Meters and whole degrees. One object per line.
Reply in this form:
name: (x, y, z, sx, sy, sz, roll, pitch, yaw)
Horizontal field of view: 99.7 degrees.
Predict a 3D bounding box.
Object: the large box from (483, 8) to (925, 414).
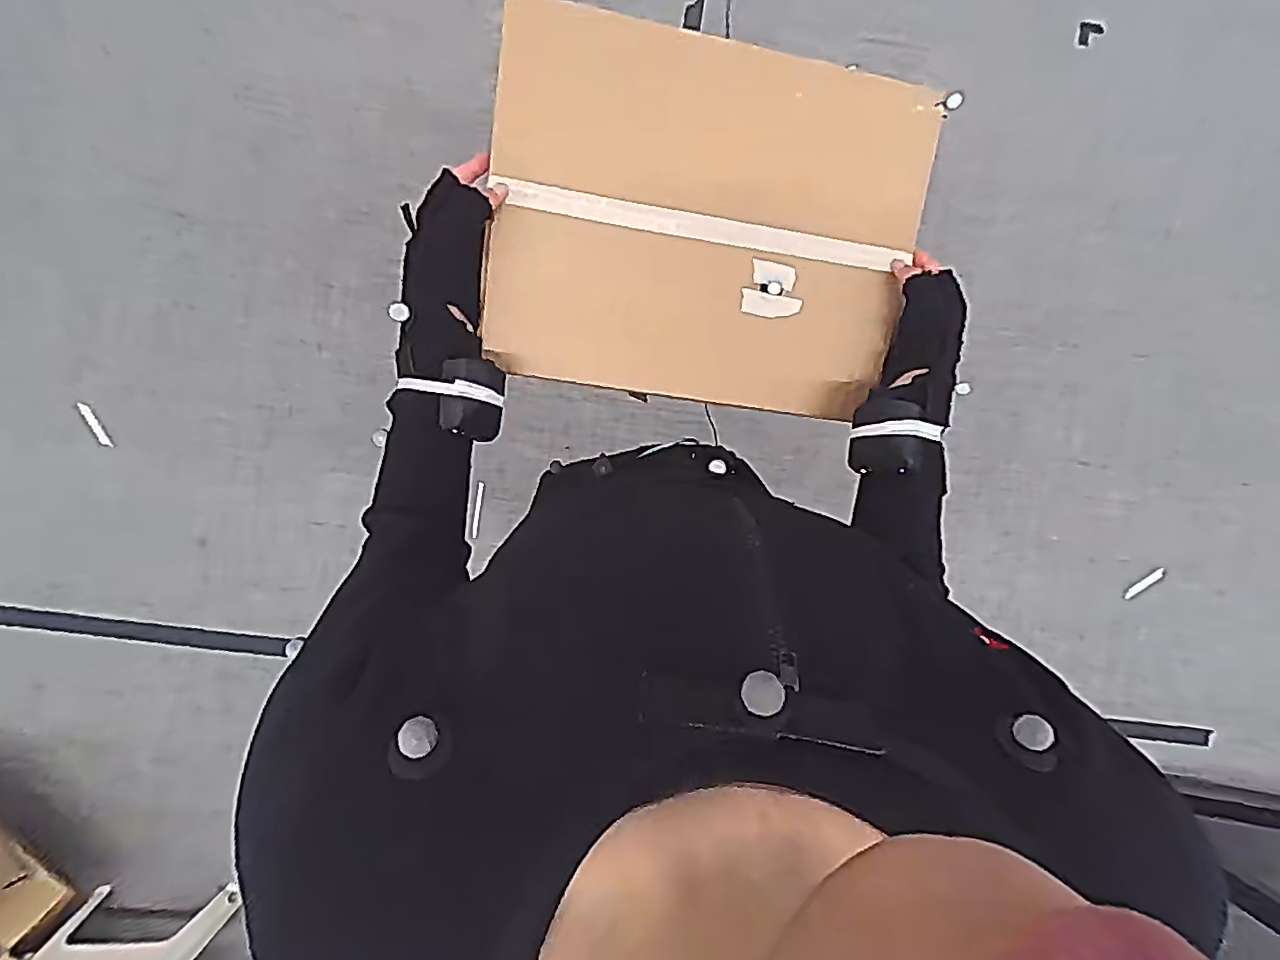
large box: (0.043, -0.267, 0.664, 0.408, 0.320, 0.320, 7, 101, -9)
